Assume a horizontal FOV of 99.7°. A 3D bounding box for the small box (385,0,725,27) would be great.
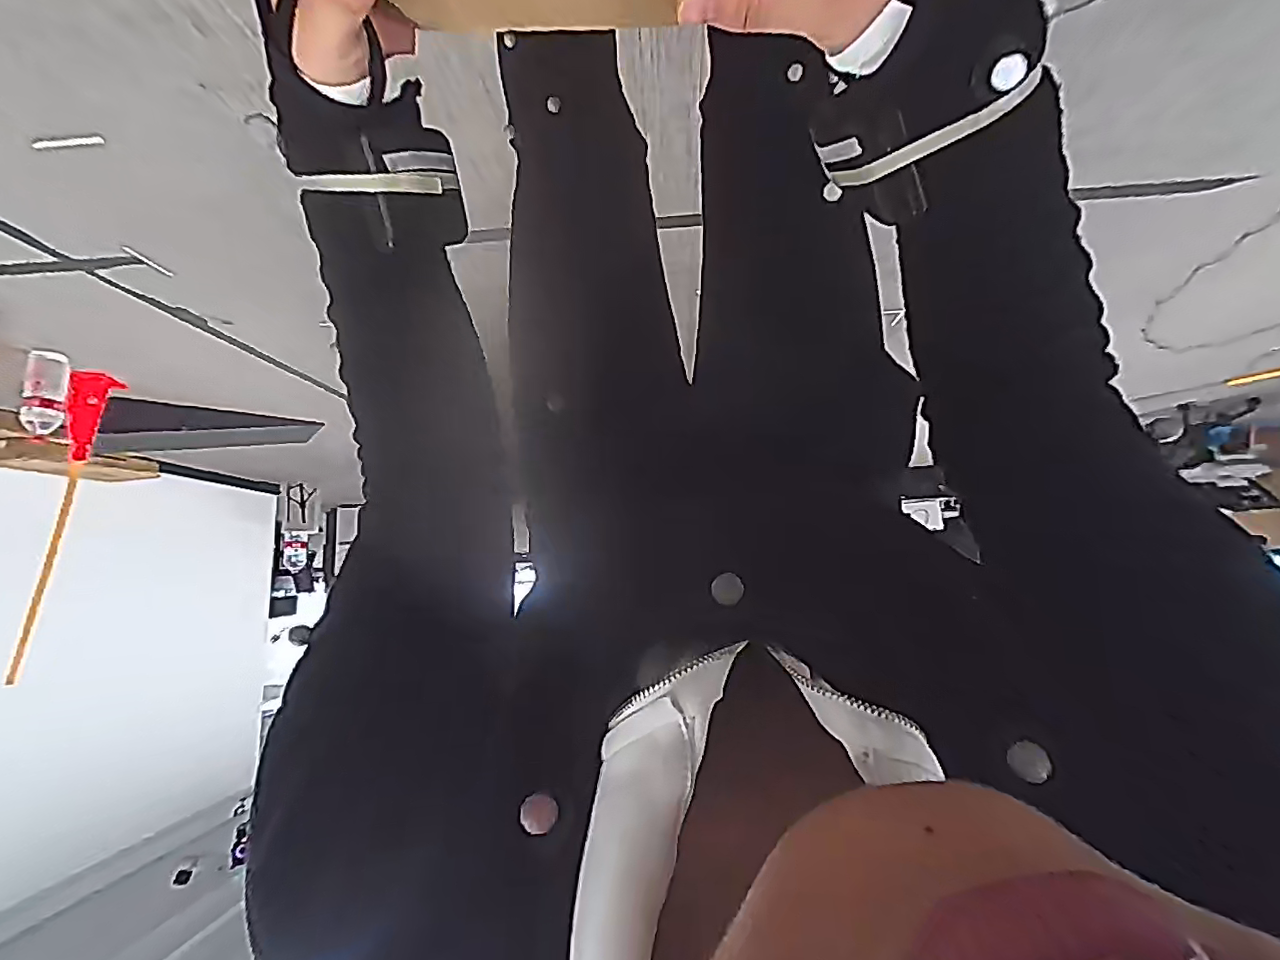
[{"bbox_3d":[-0.056,-0.272,0.152,0.179,0.176,0.168,17,-161,18],"label":"small box"}]
